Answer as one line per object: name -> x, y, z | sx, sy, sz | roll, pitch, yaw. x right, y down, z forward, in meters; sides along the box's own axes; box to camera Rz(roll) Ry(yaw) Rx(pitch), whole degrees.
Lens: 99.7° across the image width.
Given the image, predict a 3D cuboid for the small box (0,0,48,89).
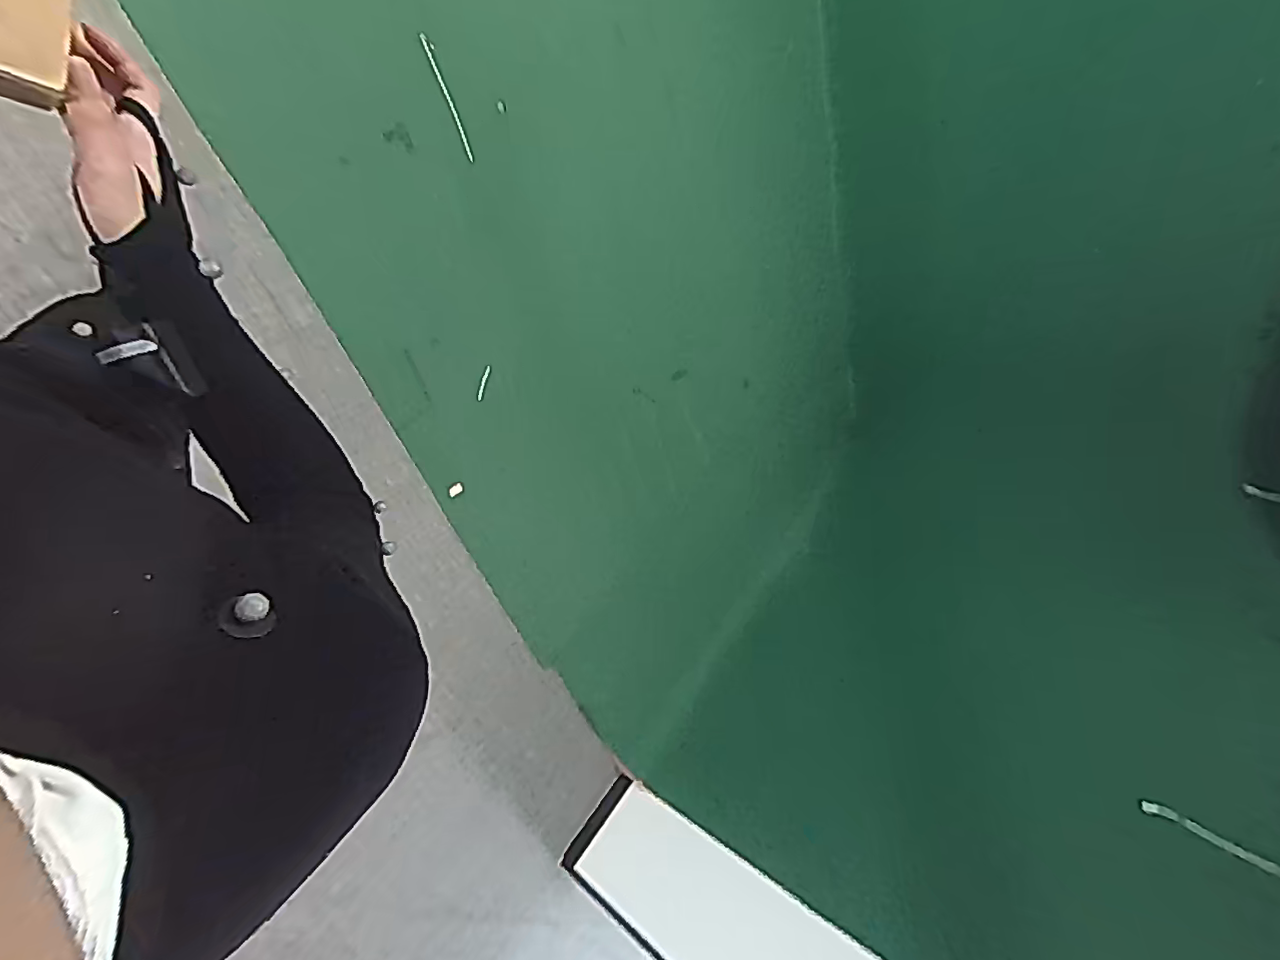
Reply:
small box -> -0.421, -0.335, 0.274 | 0.168, 0.176, 0.179 | 1, 110, -51
